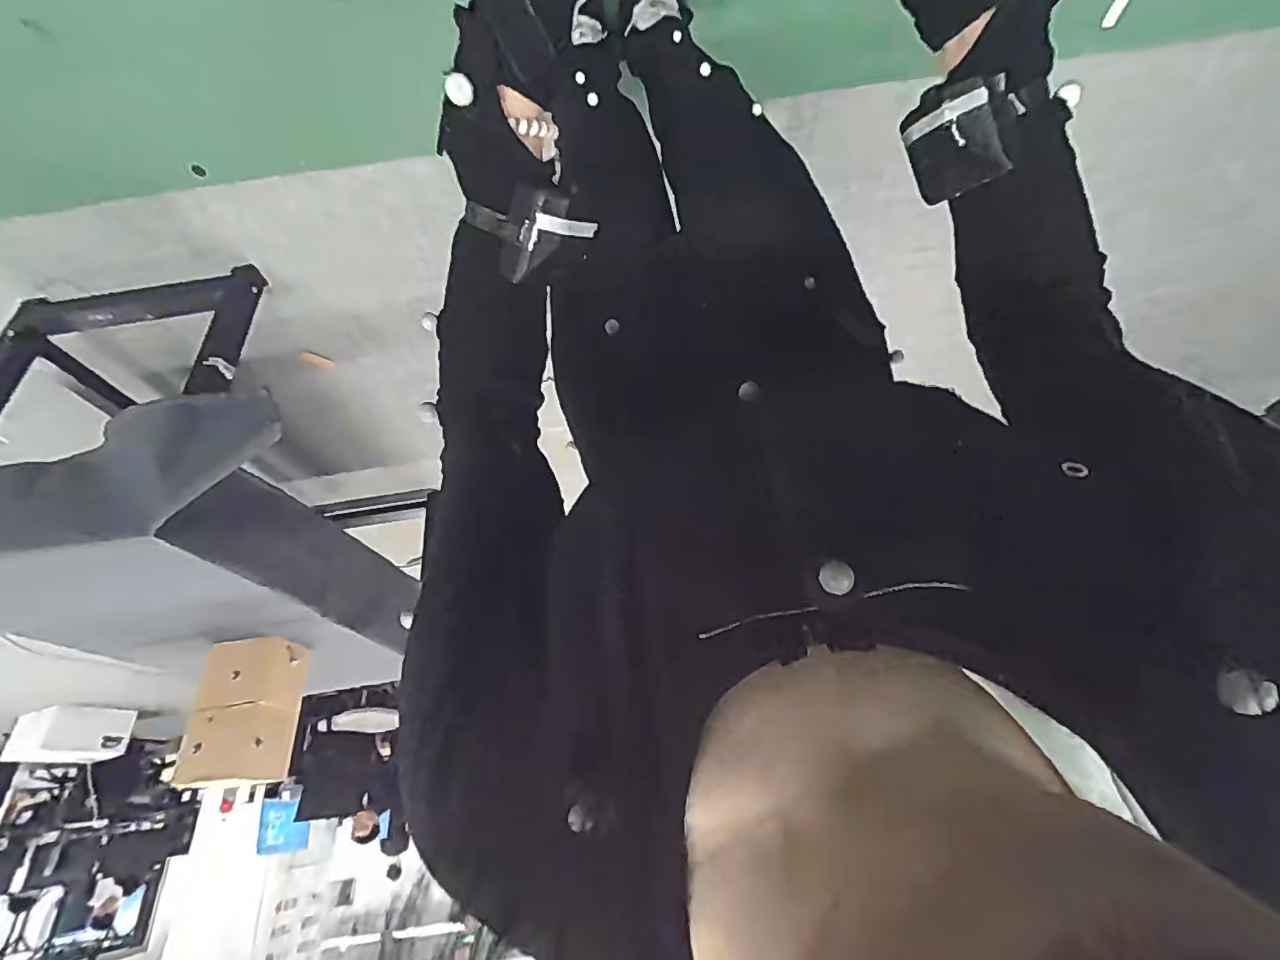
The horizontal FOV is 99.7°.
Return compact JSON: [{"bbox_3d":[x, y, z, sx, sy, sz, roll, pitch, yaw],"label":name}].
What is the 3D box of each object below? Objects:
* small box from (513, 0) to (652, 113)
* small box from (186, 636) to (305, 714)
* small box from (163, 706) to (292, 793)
[{"bbox_3d":[-0.100,-0.785,0.923,0.179,0.176,0.168,28,146,-18],"label":"small box"},{"bbox_3d":[-1.018,0.521,1.414,0.179,0.176,0.168,-8,149,0],"label":"small box"},{"bbox_3d":[-1.003,0.661,1.333,0.168,0.176,0.179,-8,149,2],"label":"small box"}]
